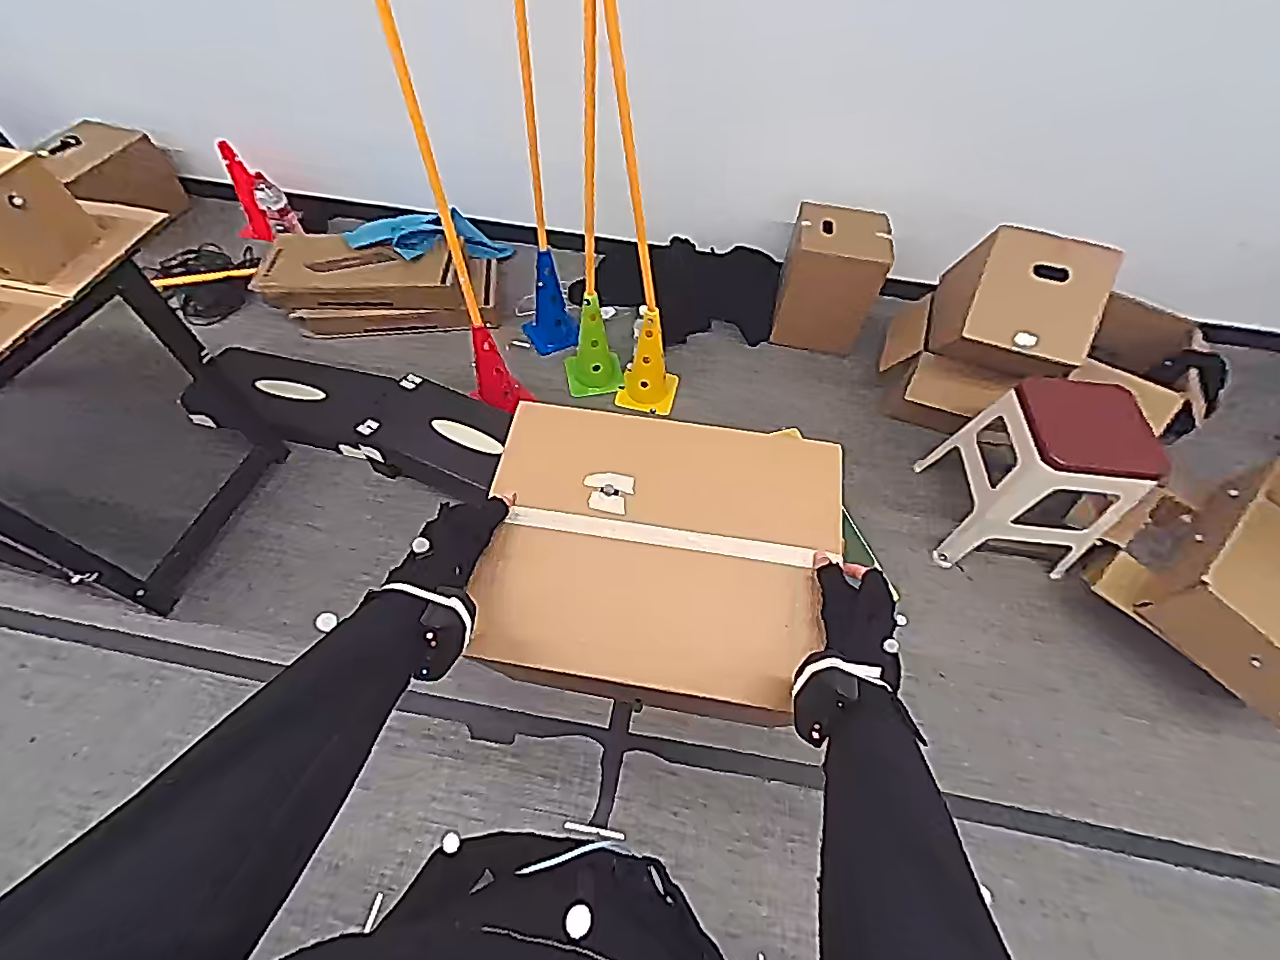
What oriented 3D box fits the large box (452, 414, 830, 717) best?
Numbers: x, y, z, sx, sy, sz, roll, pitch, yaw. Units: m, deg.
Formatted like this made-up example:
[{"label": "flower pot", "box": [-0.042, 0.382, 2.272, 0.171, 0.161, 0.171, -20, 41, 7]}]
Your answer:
[{"label": "large box", "box": [0.021, 0.137, 0.754, 0.408, 0.320, 0.320, 8, 64, 5]}]
